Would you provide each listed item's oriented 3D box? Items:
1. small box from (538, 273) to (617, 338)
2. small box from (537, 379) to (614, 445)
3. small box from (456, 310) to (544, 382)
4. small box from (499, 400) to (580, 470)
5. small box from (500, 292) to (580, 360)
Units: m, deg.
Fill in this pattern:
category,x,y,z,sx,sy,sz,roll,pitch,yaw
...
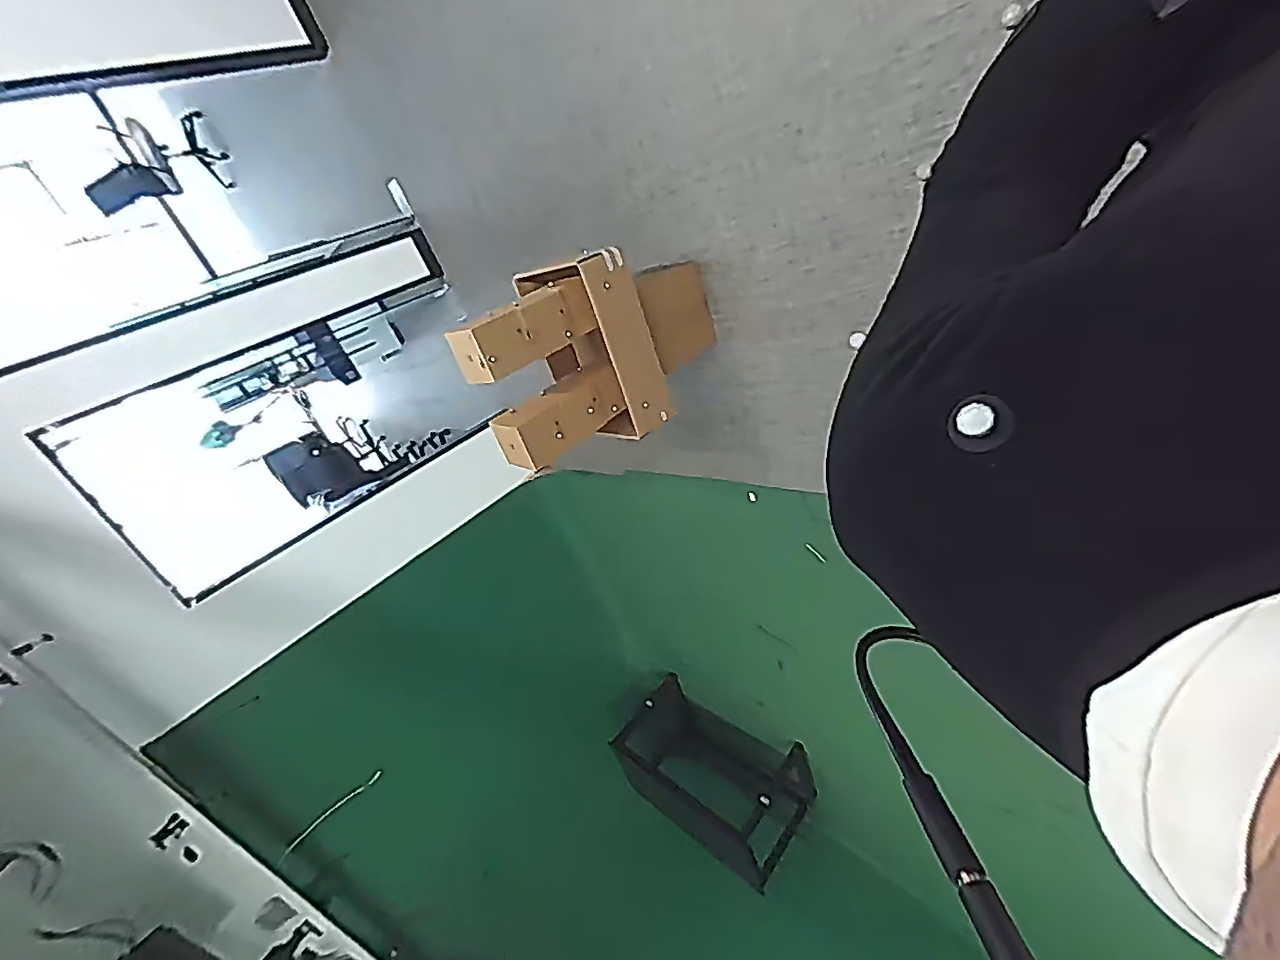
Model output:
category,x,y,z,sx,sy,sz,roll,pitch,yaw
small box,-0.209,-0.588,1.836,0.179,0.176,0.168,12,131,46
small box,-0.222,-0.243,1.888,0.179,0.176,0.168,15,134,45
small box,-0.427,-0.412,1.666,0.179,0.176,0.168,11,130,47
small box,-0.331,-0.157,1.803,0.179,0.176,0.168,14,134,45
small box,-0.314,-0.498,1.747,0.179,0.176,0.168,14,132,45
